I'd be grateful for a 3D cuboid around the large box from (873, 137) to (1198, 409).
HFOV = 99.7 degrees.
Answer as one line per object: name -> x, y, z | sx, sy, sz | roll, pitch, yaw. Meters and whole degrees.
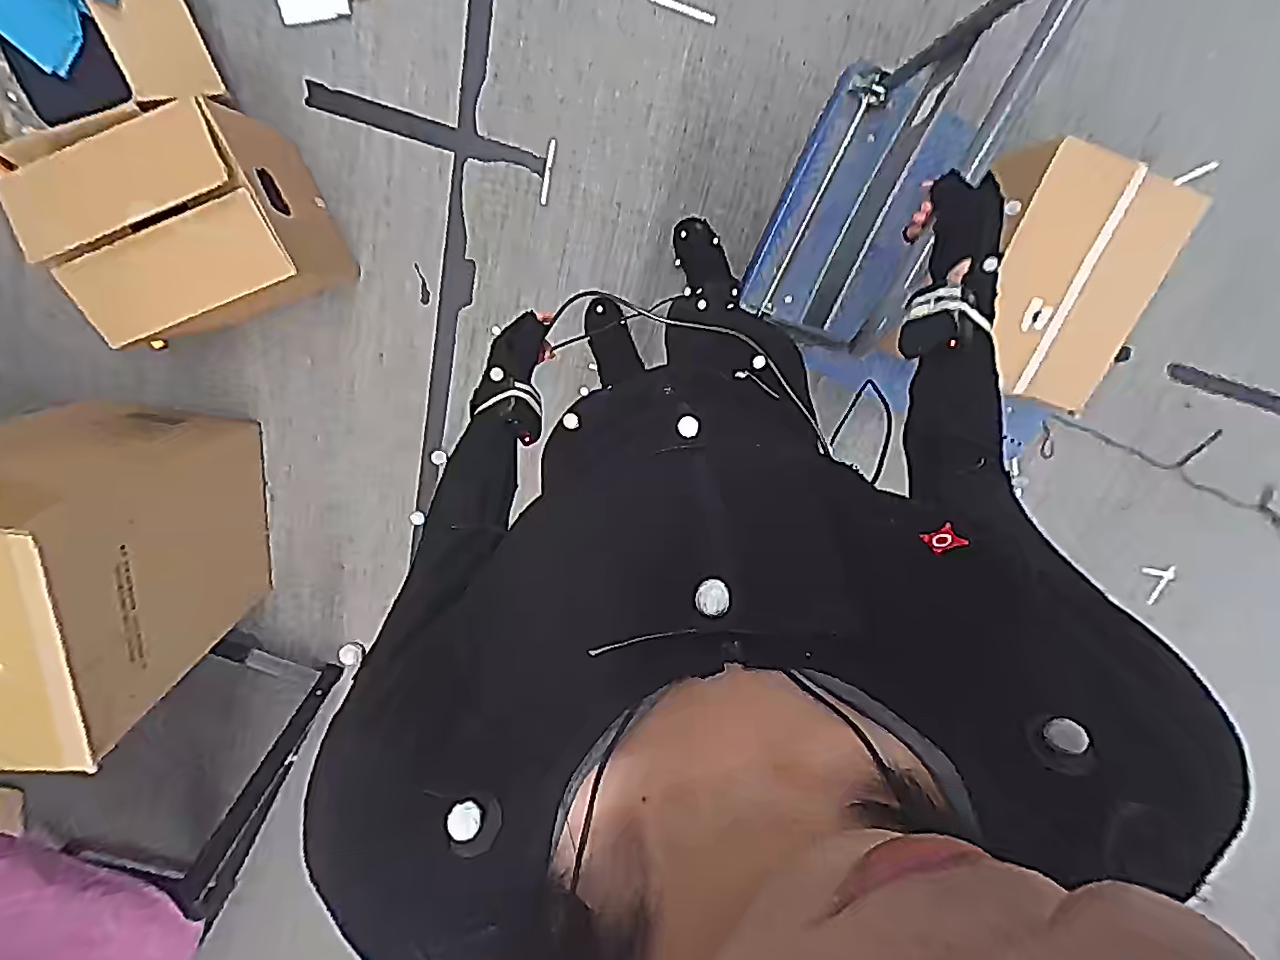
large box -> 0.764, -0.411, 1.116 | 0.320, 0.320, 0.408 | 15, 110, -10
